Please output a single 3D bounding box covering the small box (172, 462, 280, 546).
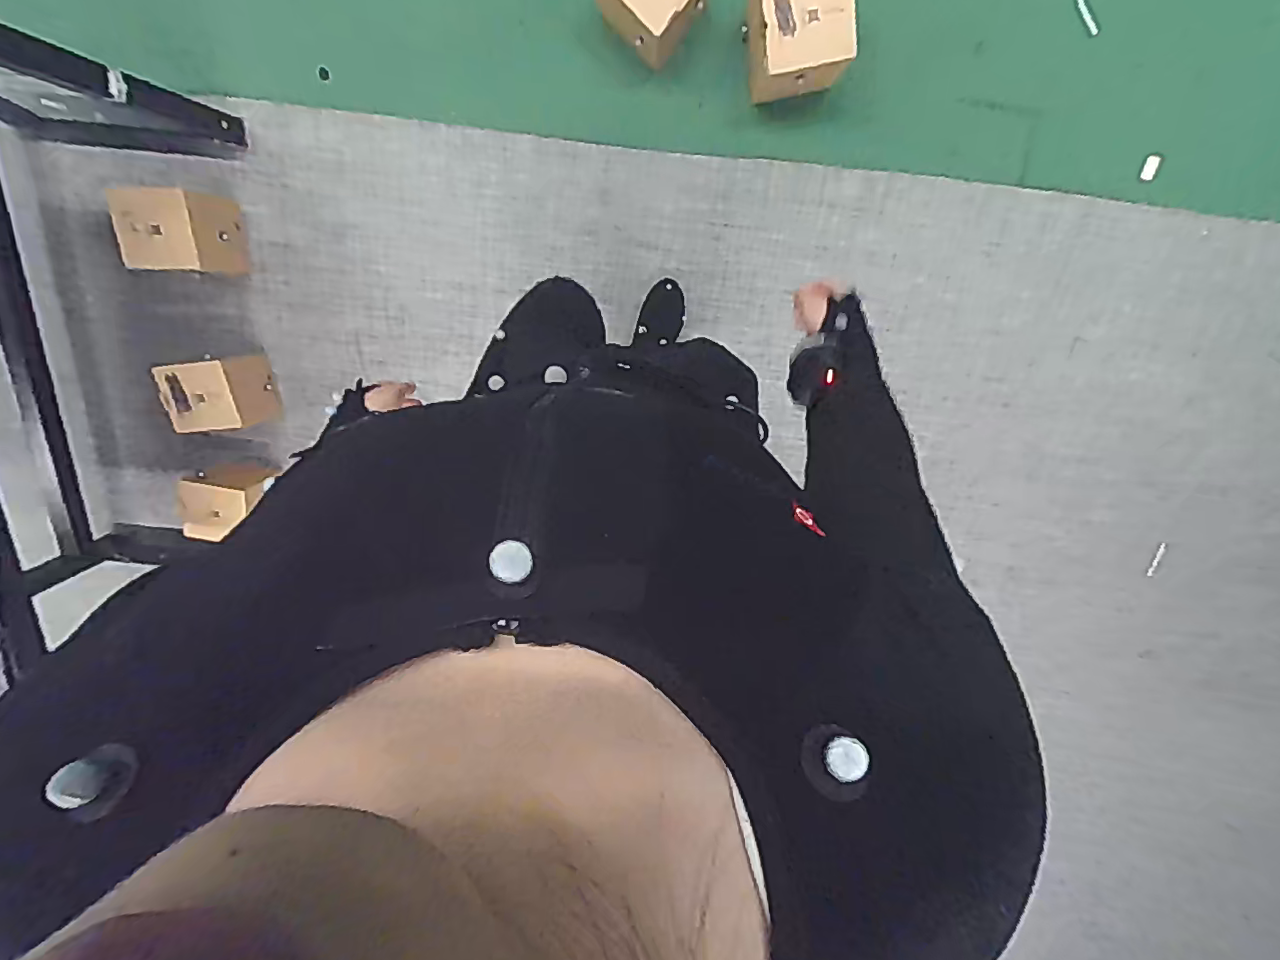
[{"bbox_3d":[-1.120,0.060,1.481,0.179,0.176,0.168,10,110,-2],"label":"small box"}]

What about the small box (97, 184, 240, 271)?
[{"bbox_3d":[-1.067,-0.577,1.248,0.179,0.176,0.168,2,109,1],"label":"small box"}]

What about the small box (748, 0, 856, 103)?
[{"bbox_3d":[0.321,-0.896,1.098,0.179,0.176,0.168,-9,109,4],"label":"small box"}]

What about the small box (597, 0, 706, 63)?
[{"bbox_3d":[0.026,-0.981,1.076,0.179,0.176,0.168,40,105,-11],"label":"small box"}]
